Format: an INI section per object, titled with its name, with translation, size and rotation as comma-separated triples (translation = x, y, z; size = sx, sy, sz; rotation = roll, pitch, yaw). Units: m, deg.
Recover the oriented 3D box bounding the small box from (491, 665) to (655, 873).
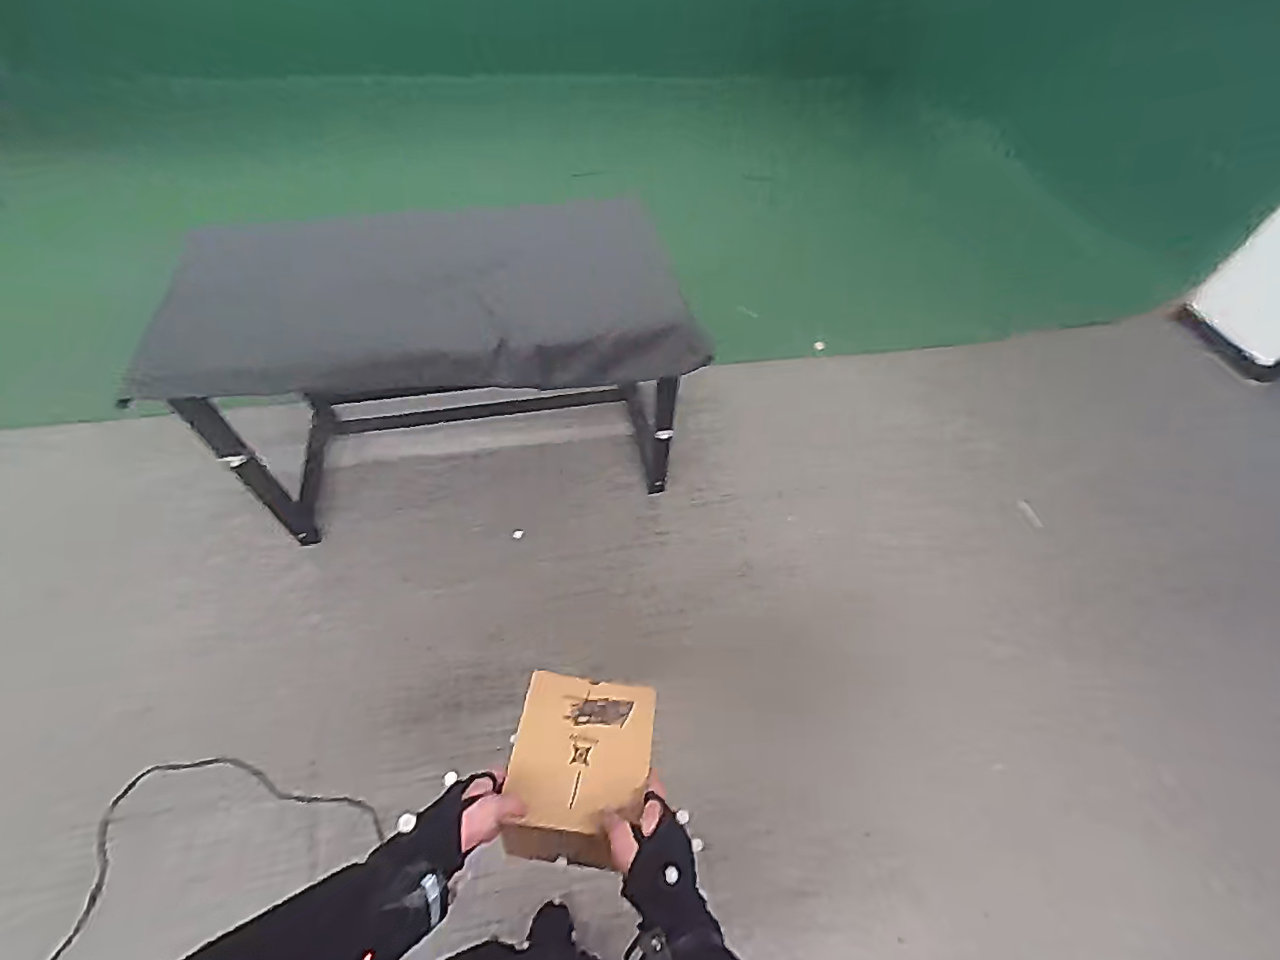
[small box]
translation = -0.080, 0.367, 0.687
size = 0.168, 0.176, 0.179
rotation = 9, 44, 0
